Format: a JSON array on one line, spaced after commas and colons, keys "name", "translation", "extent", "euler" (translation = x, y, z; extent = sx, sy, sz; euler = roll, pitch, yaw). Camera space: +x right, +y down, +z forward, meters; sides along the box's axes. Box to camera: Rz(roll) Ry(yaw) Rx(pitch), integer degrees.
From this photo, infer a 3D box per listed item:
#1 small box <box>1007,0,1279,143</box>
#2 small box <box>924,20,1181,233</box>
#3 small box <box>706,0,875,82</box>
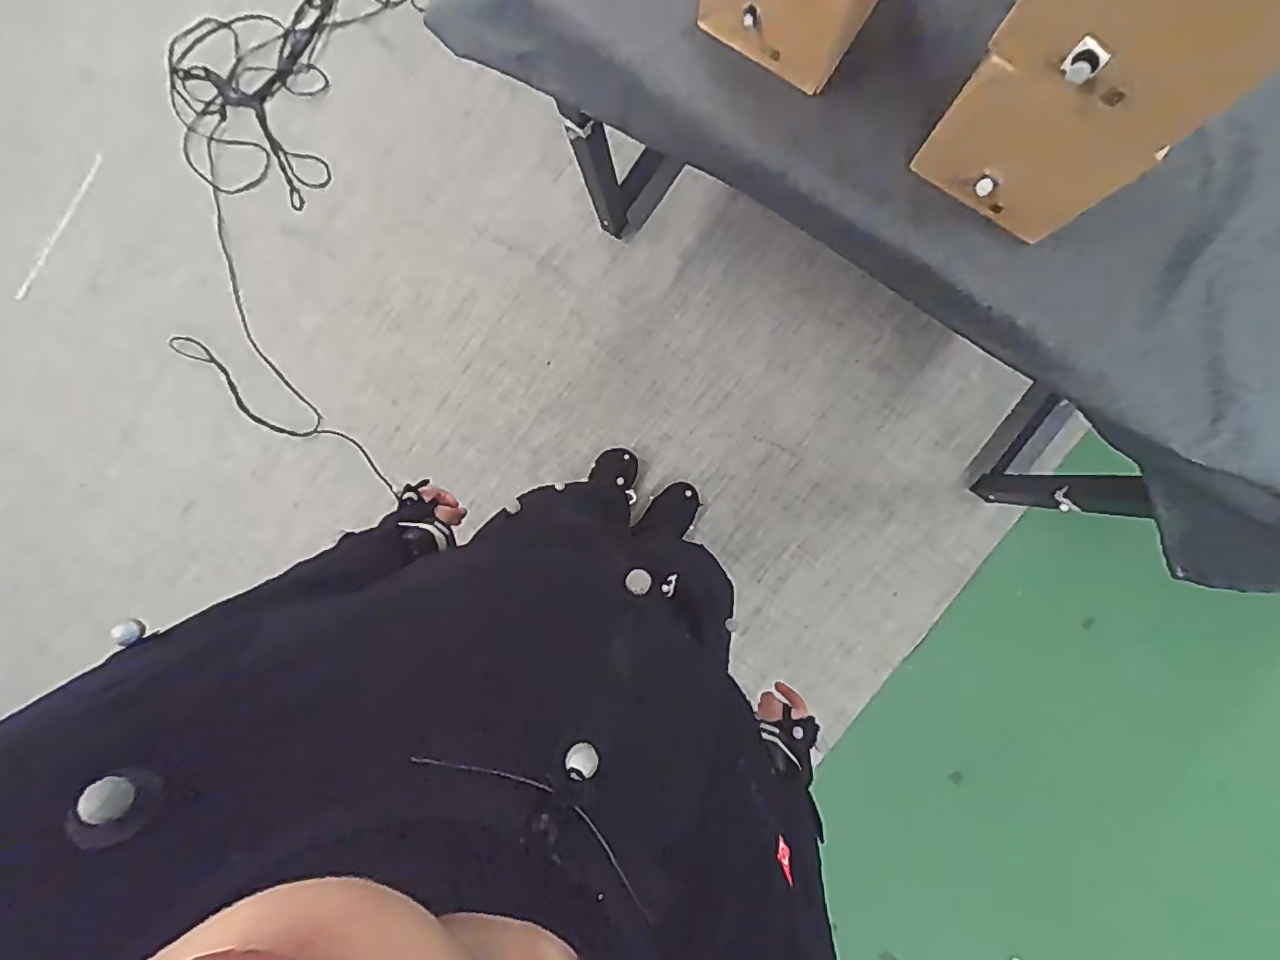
[{"name": "small box", "translation": [0.397, -0.380, 0.355], "extent": [0.168, 0.176, 0.179], "euler": [36, 94, 5]}, {"name": "small box", "translation": [0.414, -0.381, 0.516], "extent": [0.168, 0.176, 0.179], "euler": [35, 94, 4]}, {"name": "small box", "translation": [0.175, -0.561, 0.535], "extent": [0.168, 0.176, 0.179], "euler": [33, 94, 3]}]
